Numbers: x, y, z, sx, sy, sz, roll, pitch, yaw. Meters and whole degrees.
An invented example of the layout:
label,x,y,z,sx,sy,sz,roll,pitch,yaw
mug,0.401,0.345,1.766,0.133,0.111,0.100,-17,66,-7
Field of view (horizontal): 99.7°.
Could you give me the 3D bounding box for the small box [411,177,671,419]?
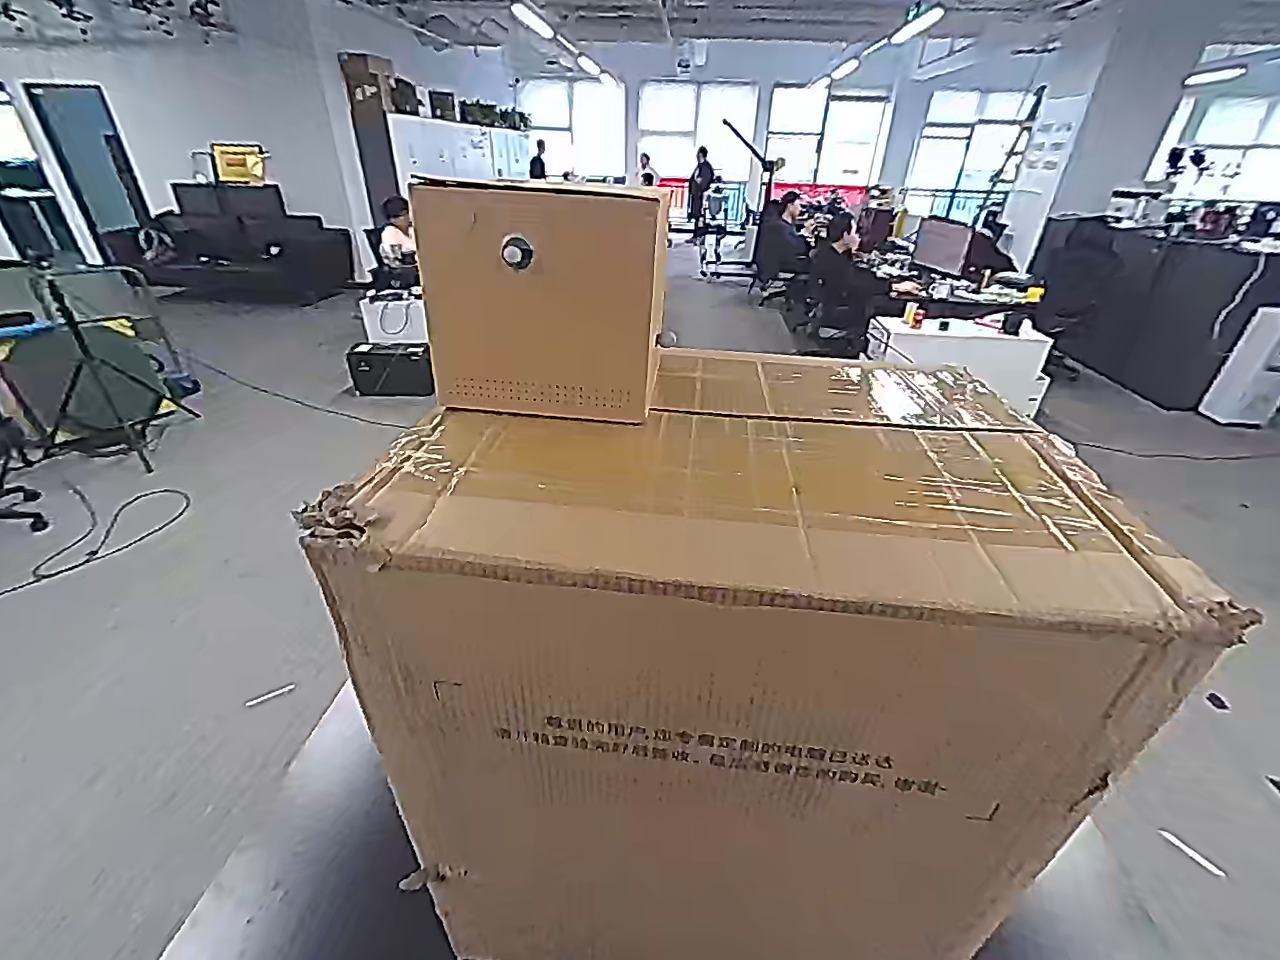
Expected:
label,x,y,z,sx,sy,sz,roll,pitch,yaw
small box,-0.069,-0.162,0.472,0.179,0.176,0.168,5,30,3
